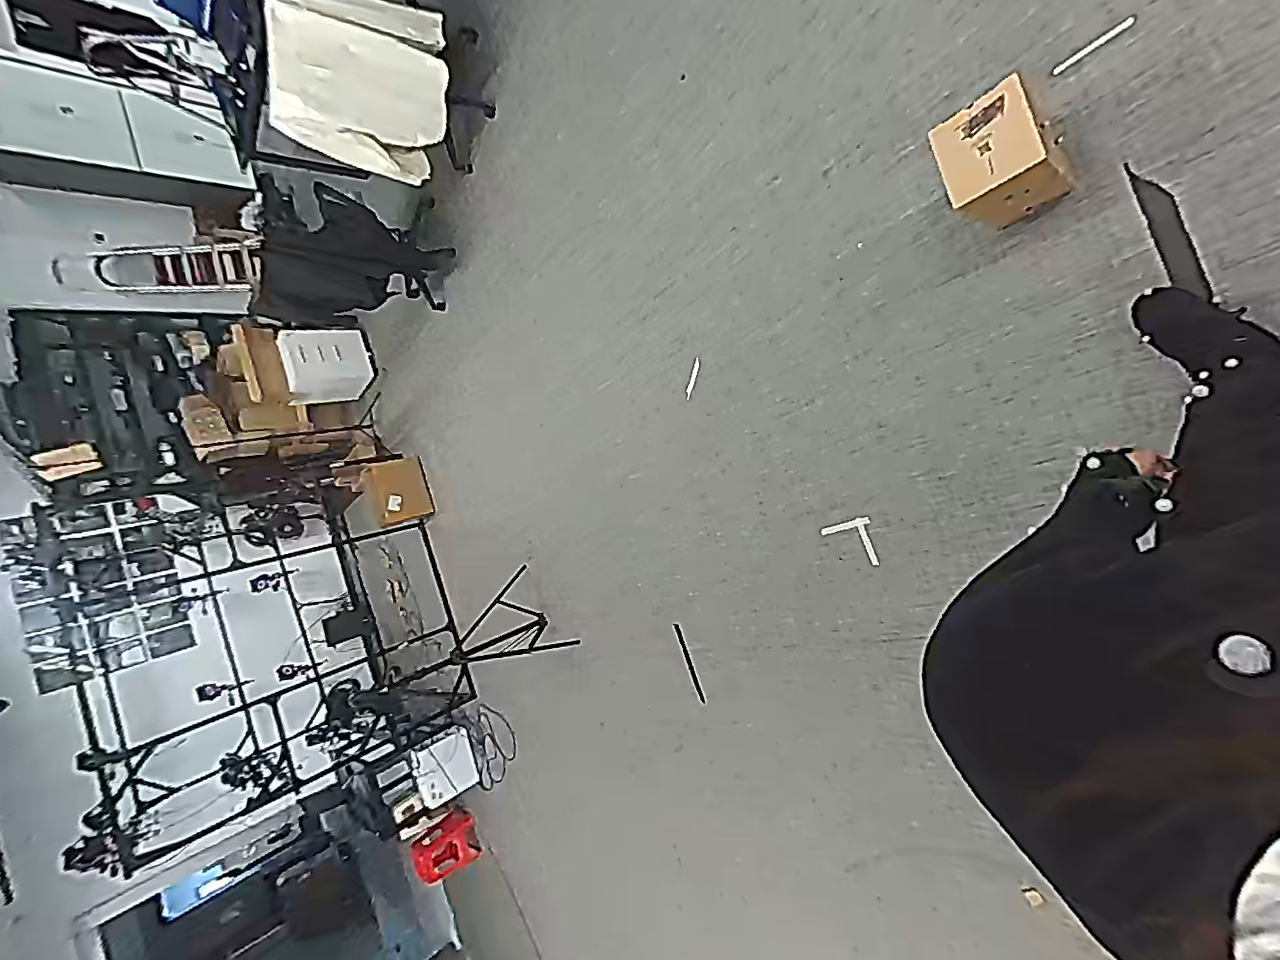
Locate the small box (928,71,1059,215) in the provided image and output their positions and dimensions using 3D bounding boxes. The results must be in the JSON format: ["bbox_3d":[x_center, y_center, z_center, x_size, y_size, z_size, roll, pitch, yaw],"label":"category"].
[{"bbox_3d":[0.727,-0.676,1.111,0.168,0.176,0.179,-20,87,48],"label":"small box"}]
